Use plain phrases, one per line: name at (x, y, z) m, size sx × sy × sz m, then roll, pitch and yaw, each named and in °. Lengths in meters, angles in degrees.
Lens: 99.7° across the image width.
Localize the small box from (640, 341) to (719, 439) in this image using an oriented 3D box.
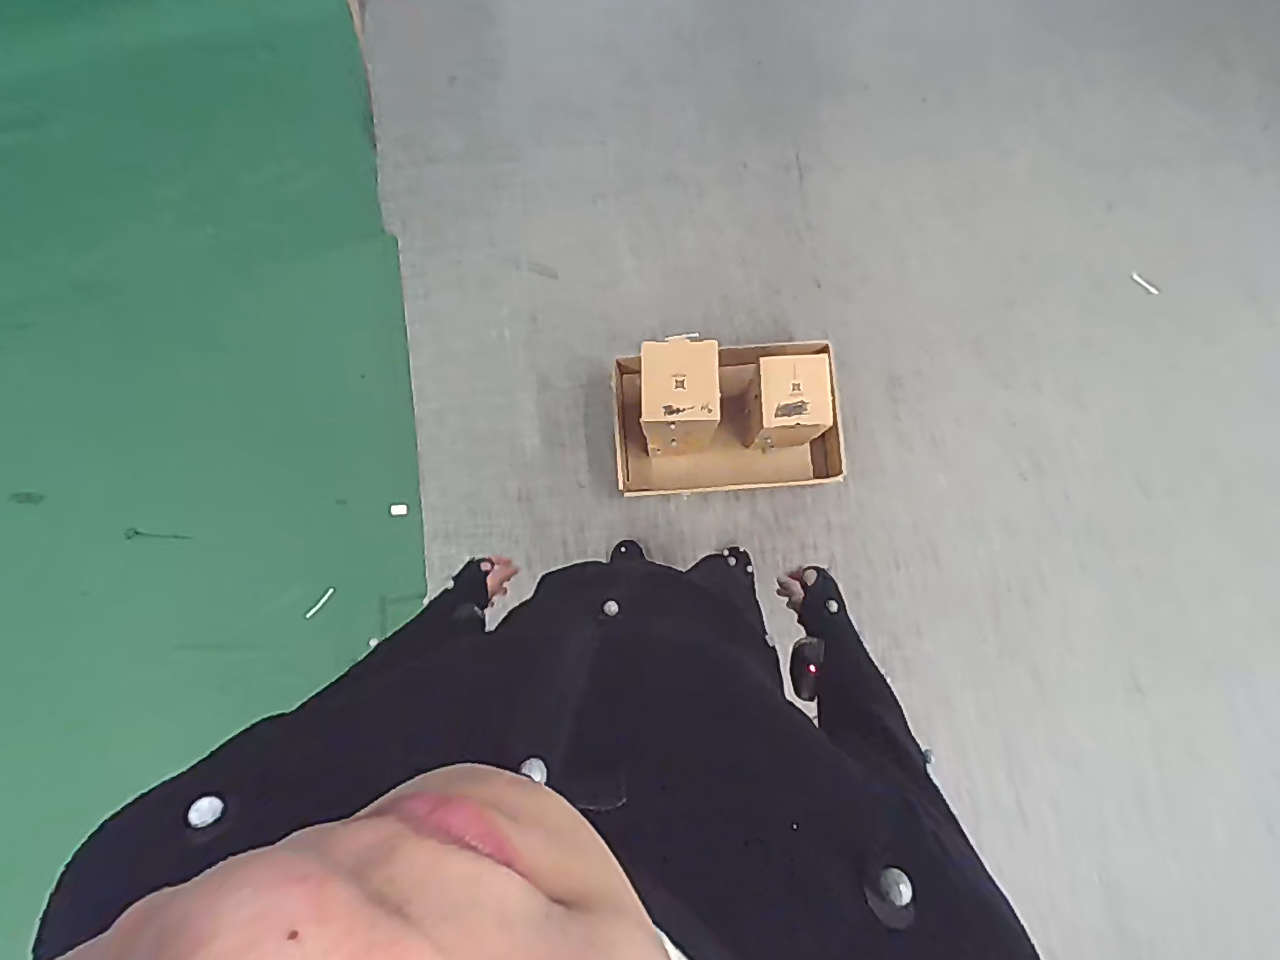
small box at (0.082, -0.194, 1.206) m, size 0.168 × 0.176 × 0.179 m, roll -1°, pitch 83°, yaw 1°

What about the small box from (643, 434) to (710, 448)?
small box at (0.088, -0.186, 1.370) m, size 0.168 × 0.176 × 0.179 m, roll -3°, pitch 83°, yaw 1°

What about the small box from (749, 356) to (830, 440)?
small box at (0.369, -0.198, 1.358) m, size 0.168 × 0.176 × 0.179 m, roll -2°, pitch 83°, yaw 4°
